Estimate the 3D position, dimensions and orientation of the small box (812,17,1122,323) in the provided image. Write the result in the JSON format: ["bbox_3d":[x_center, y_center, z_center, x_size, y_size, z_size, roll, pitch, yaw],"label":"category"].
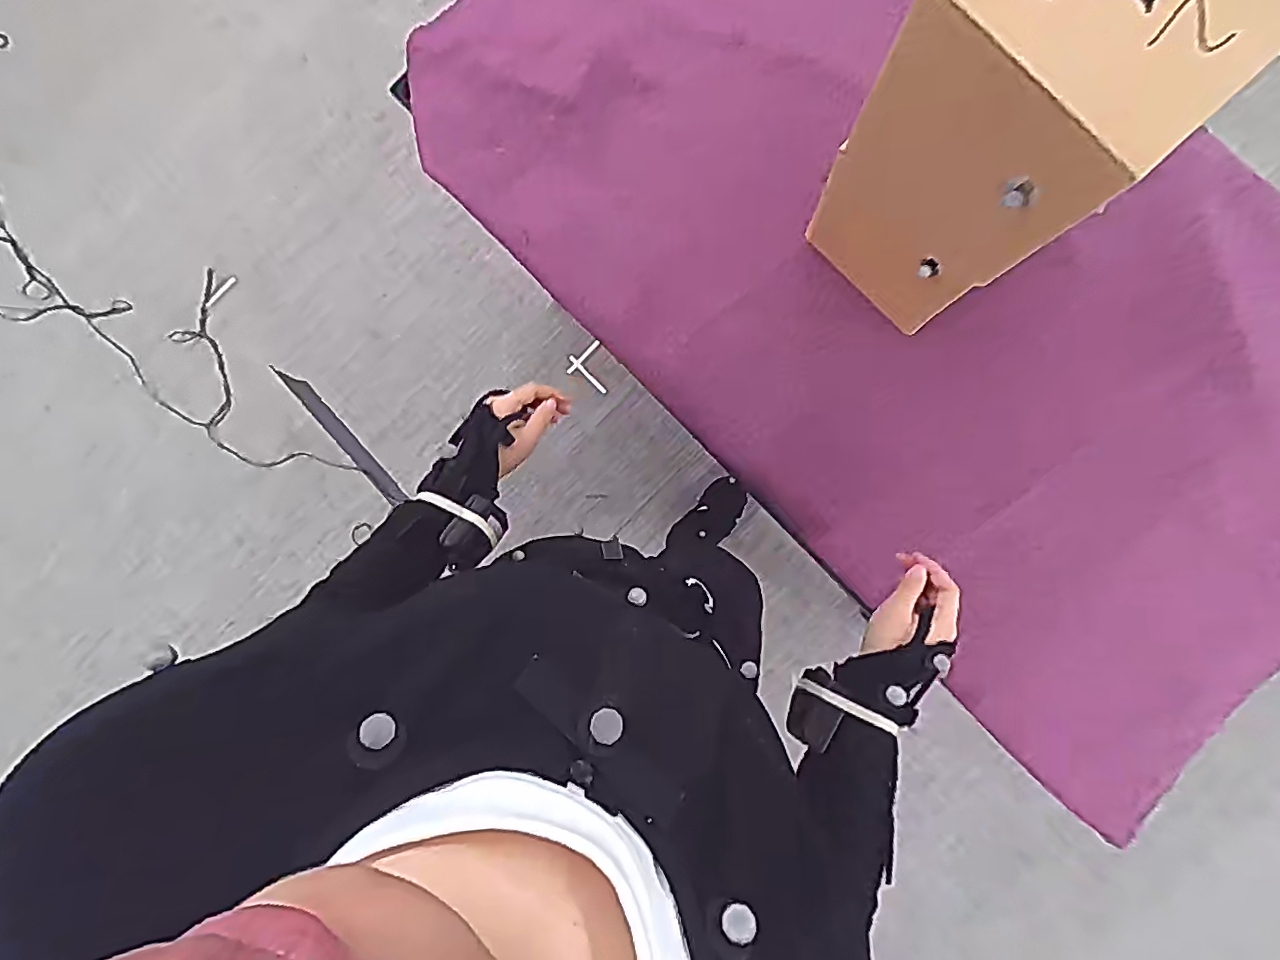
[{"bbox_3d":[0.306,-0.293,0.554,0.168,0.176,0.179,-44,86,3],"label":"small box"}]
